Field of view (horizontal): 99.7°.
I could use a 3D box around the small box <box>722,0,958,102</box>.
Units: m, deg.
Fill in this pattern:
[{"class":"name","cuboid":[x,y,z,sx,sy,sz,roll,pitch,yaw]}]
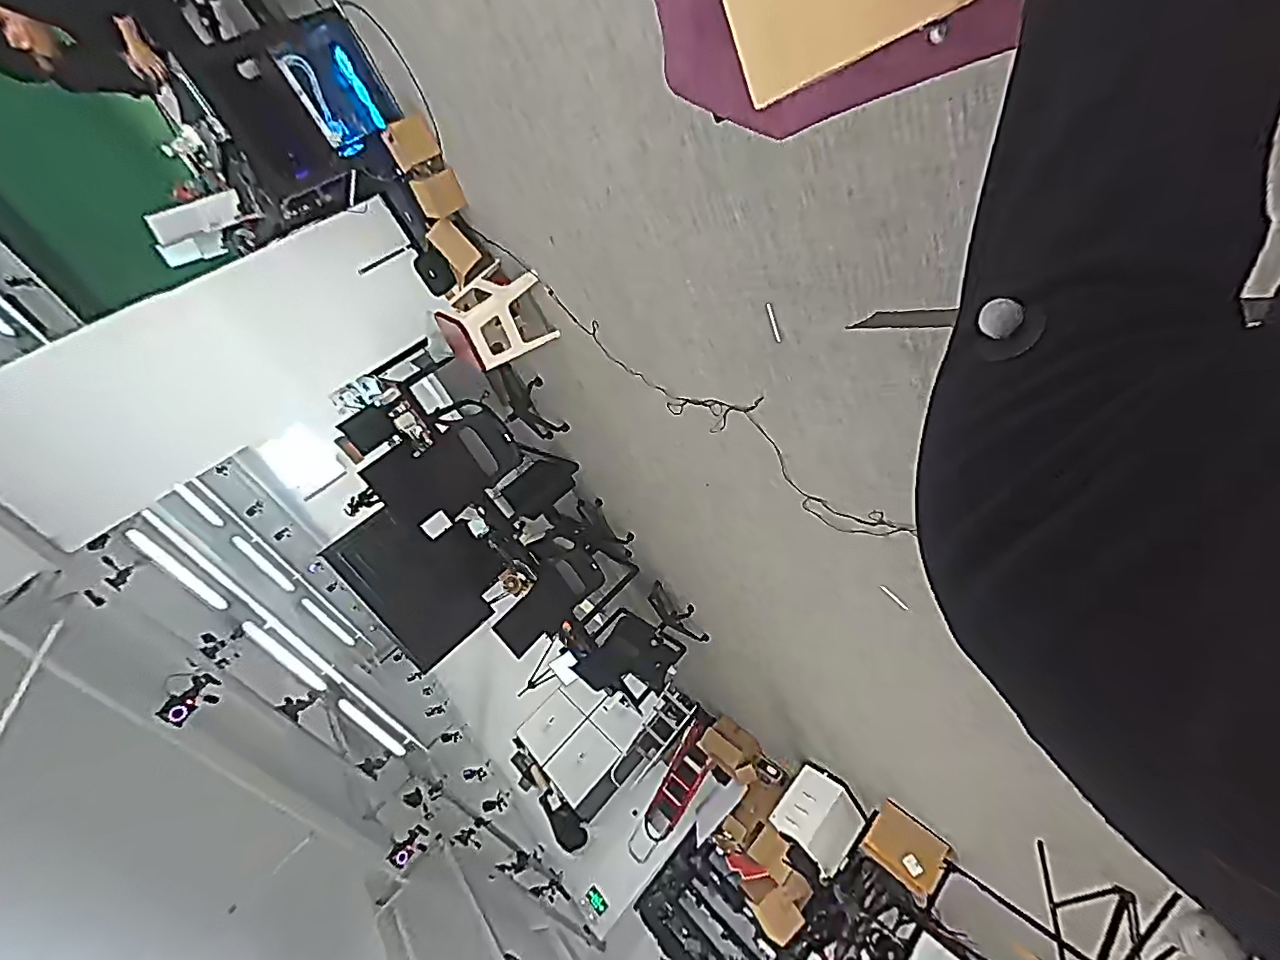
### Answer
[{"class":"small box","cuboid":[0.166,-0.411,0.377,0.179,0.176,0.168,13,138,53]}]
